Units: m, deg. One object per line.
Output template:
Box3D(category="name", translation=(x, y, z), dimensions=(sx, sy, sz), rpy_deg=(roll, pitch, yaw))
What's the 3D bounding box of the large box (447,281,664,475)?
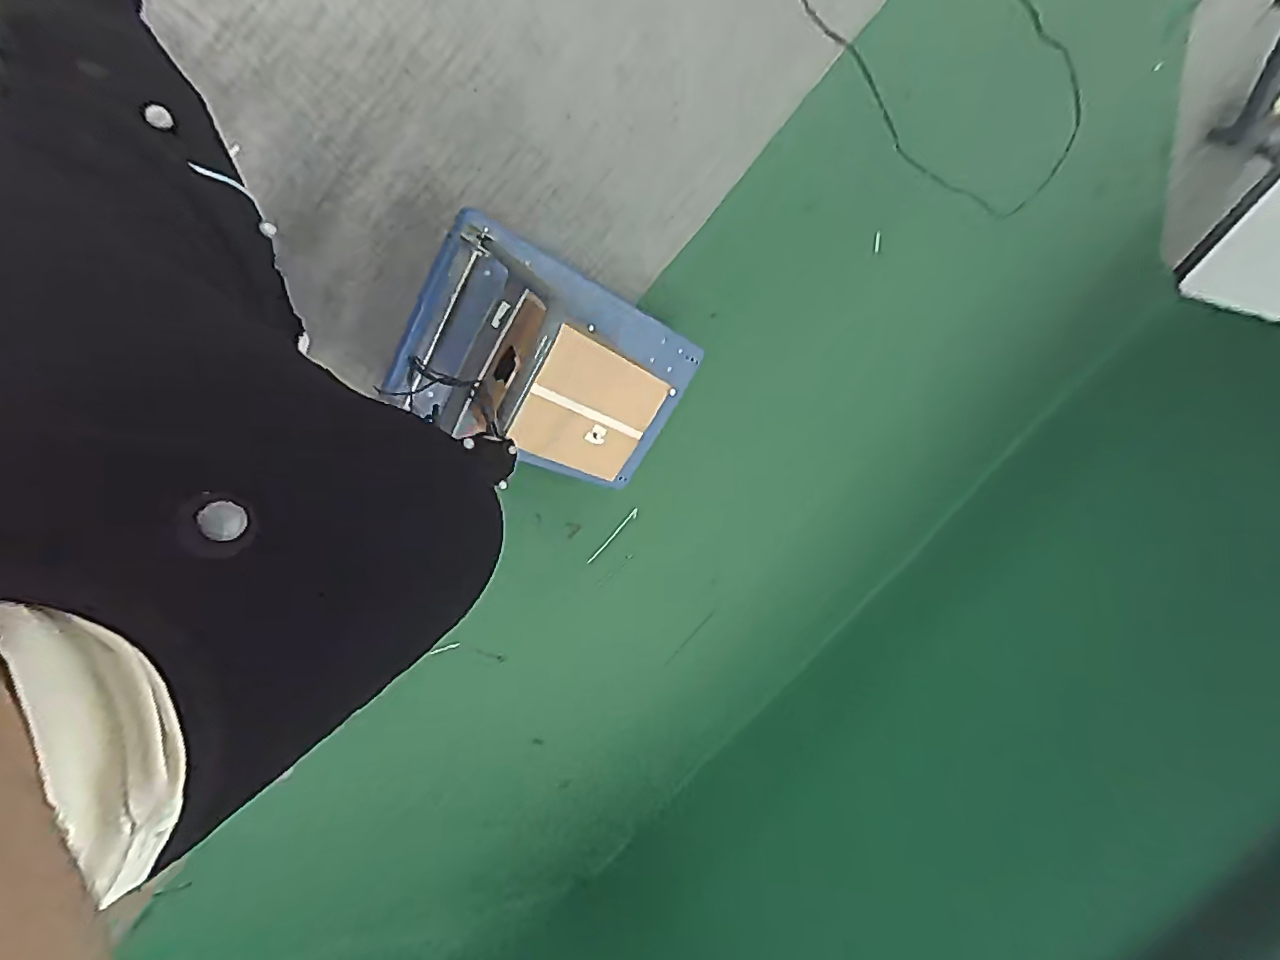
Box3D(category="large box", translation=(-0.226, -0.260, 1.423), dimensions=(0.408, 0.320, 0.320), rpy_deg=(20, 109, -43))
